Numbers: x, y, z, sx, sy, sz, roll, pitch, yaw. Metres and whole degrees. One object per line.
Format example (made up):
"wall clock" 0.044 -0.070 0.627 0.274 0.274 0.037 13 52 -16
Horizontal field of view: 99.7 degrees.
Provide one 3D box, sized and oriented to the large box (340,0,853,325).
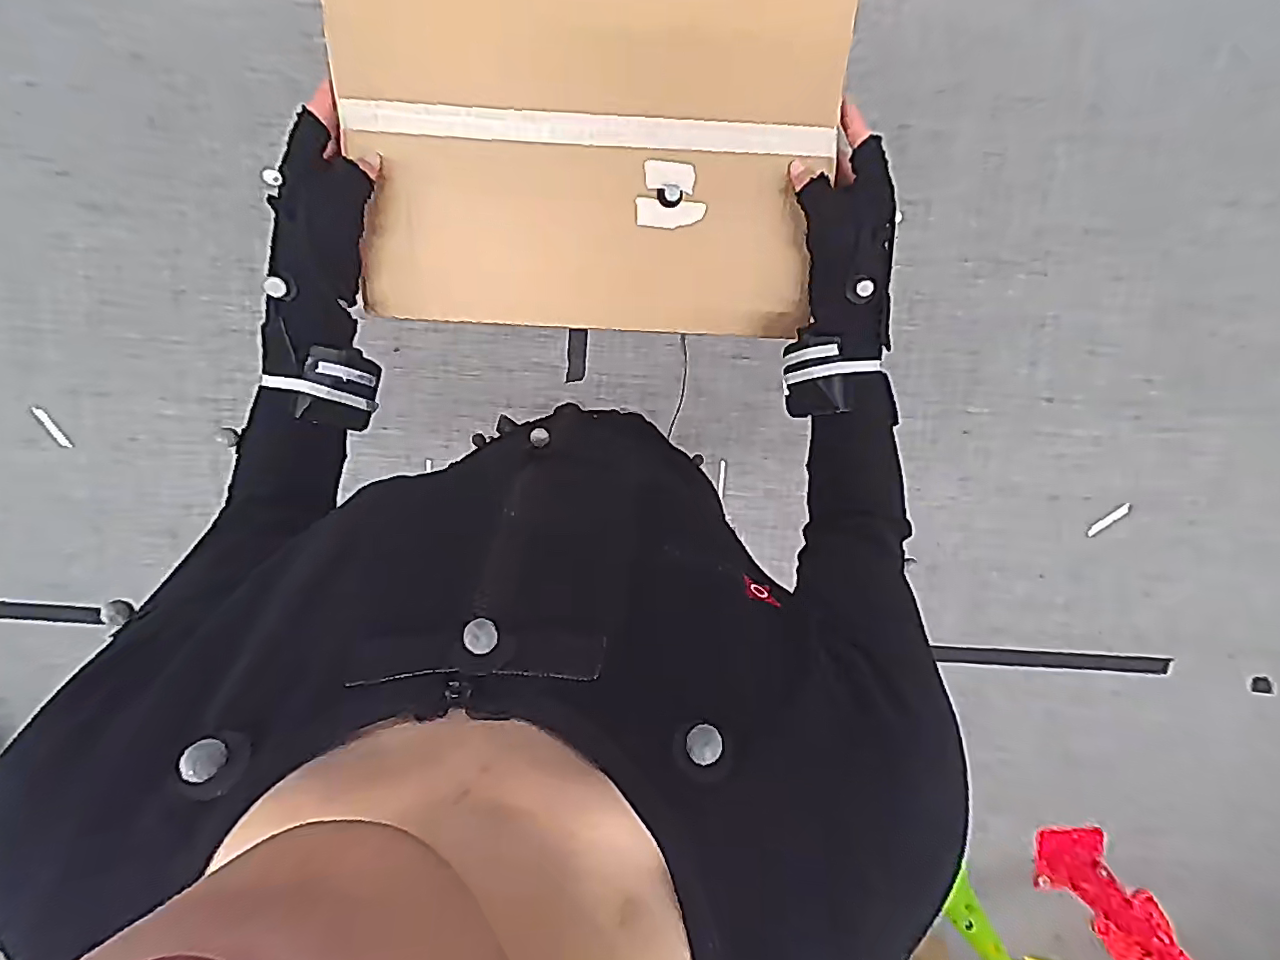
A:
"large box" -0.040 -0.343 0.586 0.408 0.320 0.320 2 111 -3
